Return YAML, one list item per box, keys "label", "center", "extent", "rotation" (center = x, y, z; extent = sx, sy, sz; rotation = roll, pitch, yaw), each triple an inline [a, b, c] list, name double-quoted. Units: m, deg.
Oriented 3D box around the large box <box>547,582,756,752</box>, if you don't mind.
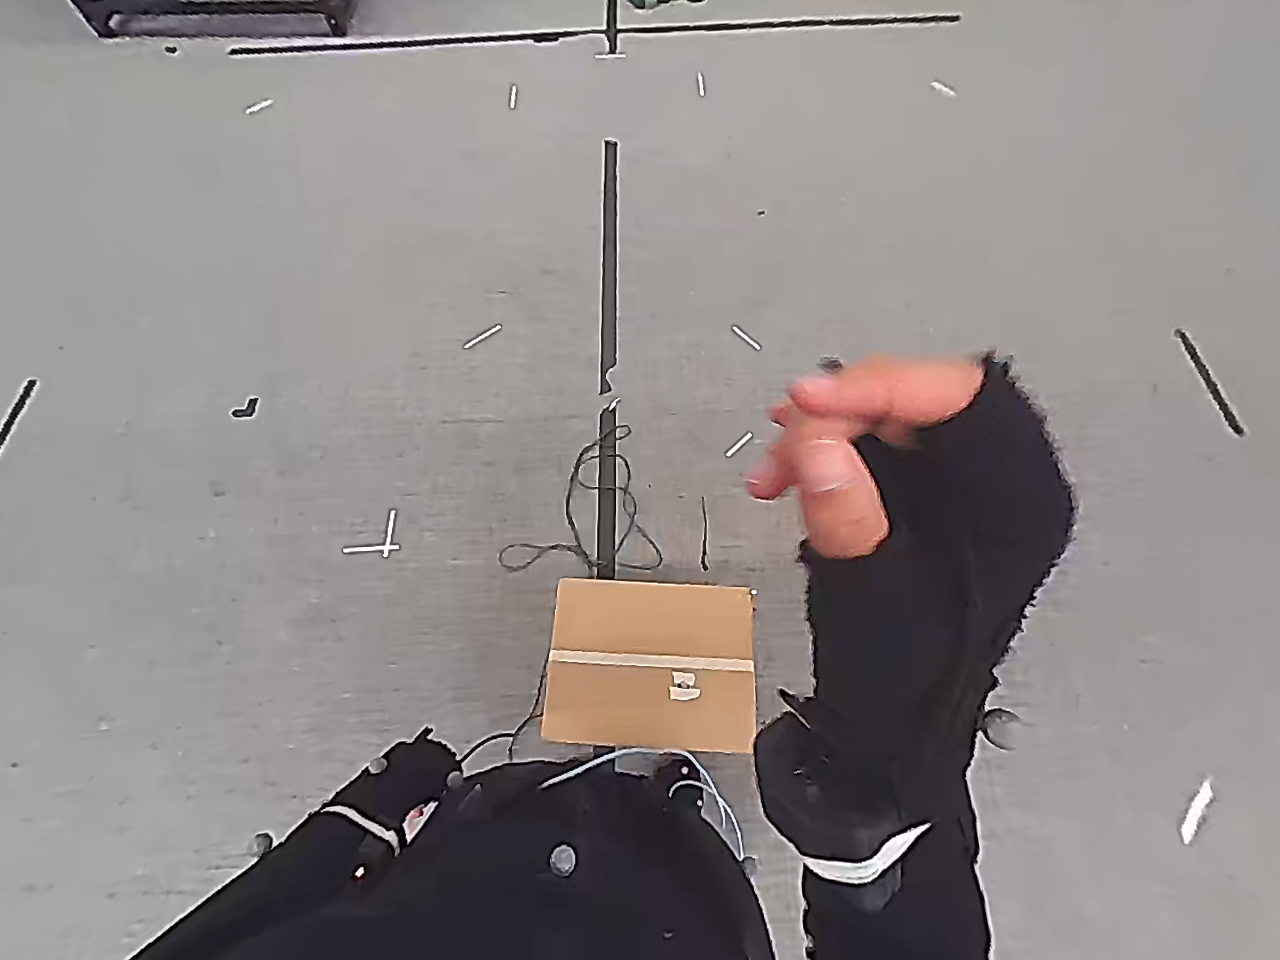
- label: "large box"
  center: [0.026, 0.426, 1.214]
  extent: [0.408, 0.320, 0.320]
  rotation: [3, 66, 2]
